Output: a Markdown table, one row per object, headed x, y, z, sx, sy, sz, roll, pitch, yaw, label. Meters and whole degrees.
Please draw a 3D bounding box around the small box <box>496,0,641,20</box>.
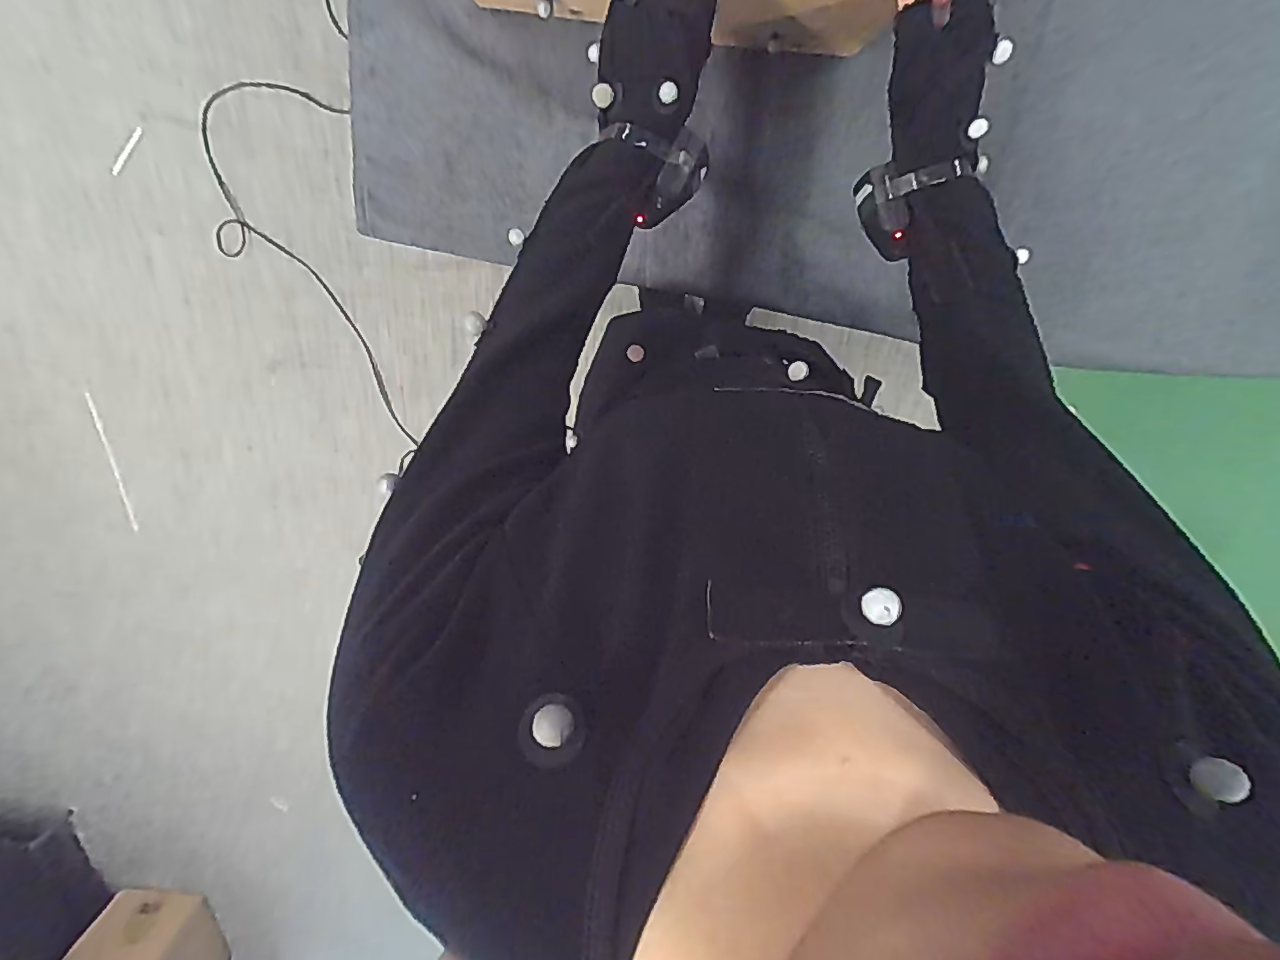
| x | y | z | sx | sy | sz | roll | pitch | yaw | label |
| --- | --- | --- | --- | --- | --- | --- | --- | --- | --- |
| -0.074 | -0.520 | 0.435 | 0.168 | 0.176 | 0.179 | 8 | 114 | 1 | small box |
